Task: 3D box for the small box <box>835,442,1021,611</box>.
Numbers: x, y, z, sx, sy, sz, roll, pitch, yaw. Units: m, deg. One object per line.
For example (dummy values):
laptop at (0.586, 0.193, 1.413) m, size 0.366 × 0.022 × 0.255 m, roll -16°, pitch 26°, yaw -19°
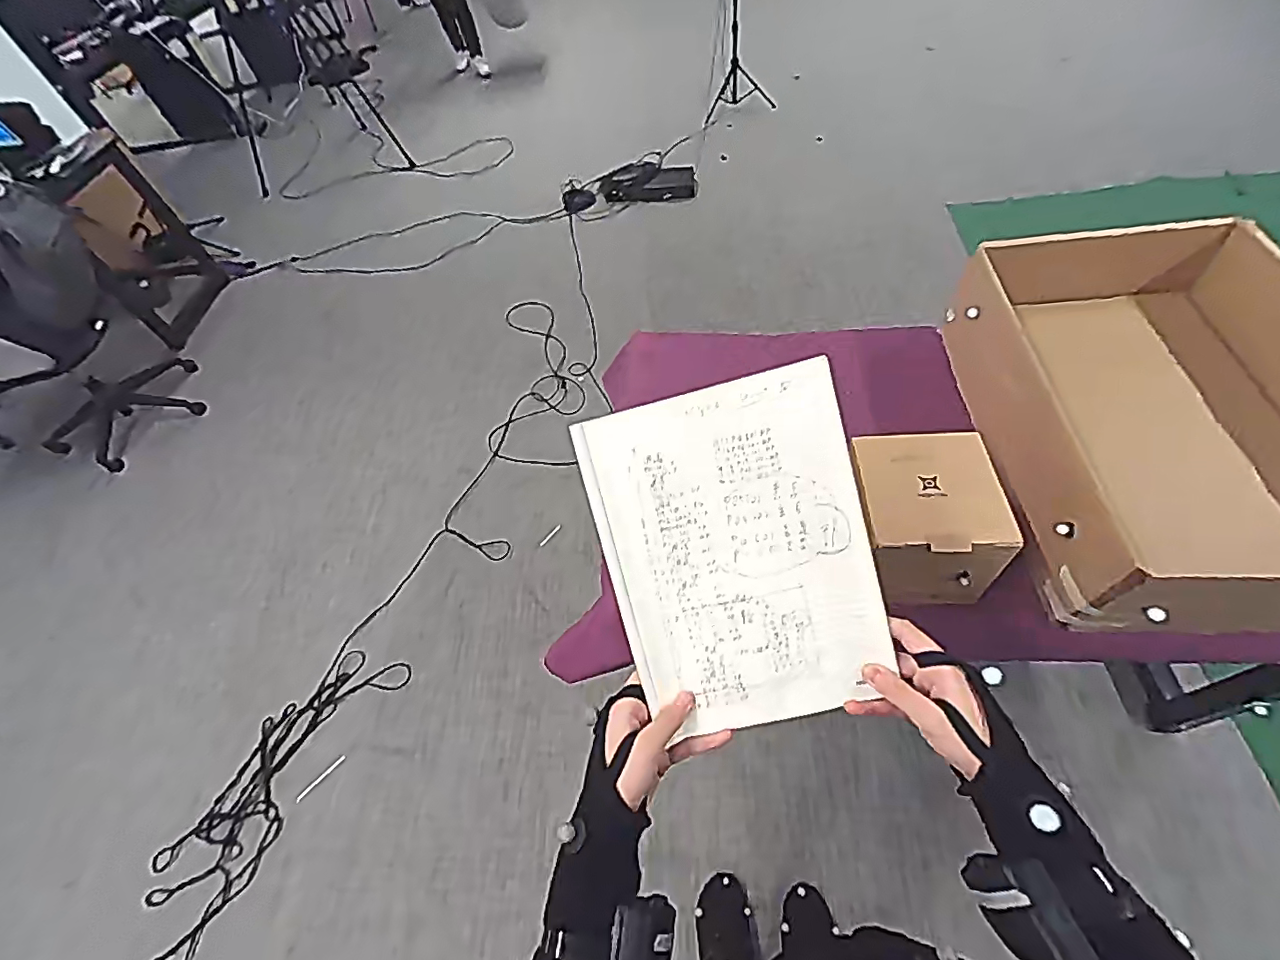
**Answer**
small box at (0.375, 0.069, 0.743) m, size 0.168 × 0.176 × 0.179 m, roll -1°, pitch 52°, yaw 8°
